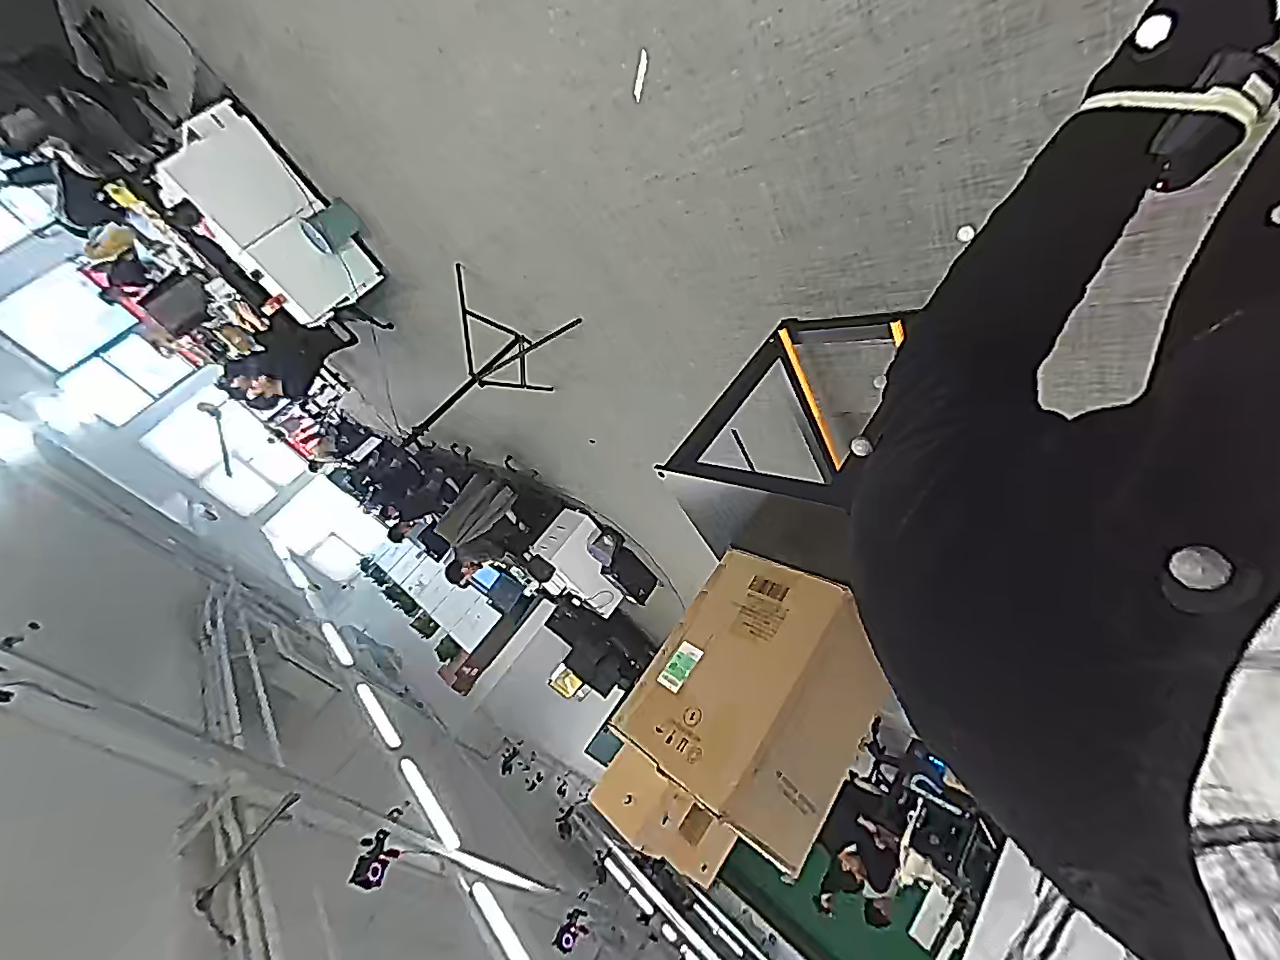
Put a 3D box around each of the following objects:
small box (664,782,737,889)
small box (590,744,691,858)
[{"bbox_3d":[0.151,1.018,1.557,0.168,0.176,0.179,16,147,49],"label":"small box"},{"bbox_3d":[0.010,0.829,1.407,0.179,0.176,0.168,19,152,46],"label":"small box"}]
